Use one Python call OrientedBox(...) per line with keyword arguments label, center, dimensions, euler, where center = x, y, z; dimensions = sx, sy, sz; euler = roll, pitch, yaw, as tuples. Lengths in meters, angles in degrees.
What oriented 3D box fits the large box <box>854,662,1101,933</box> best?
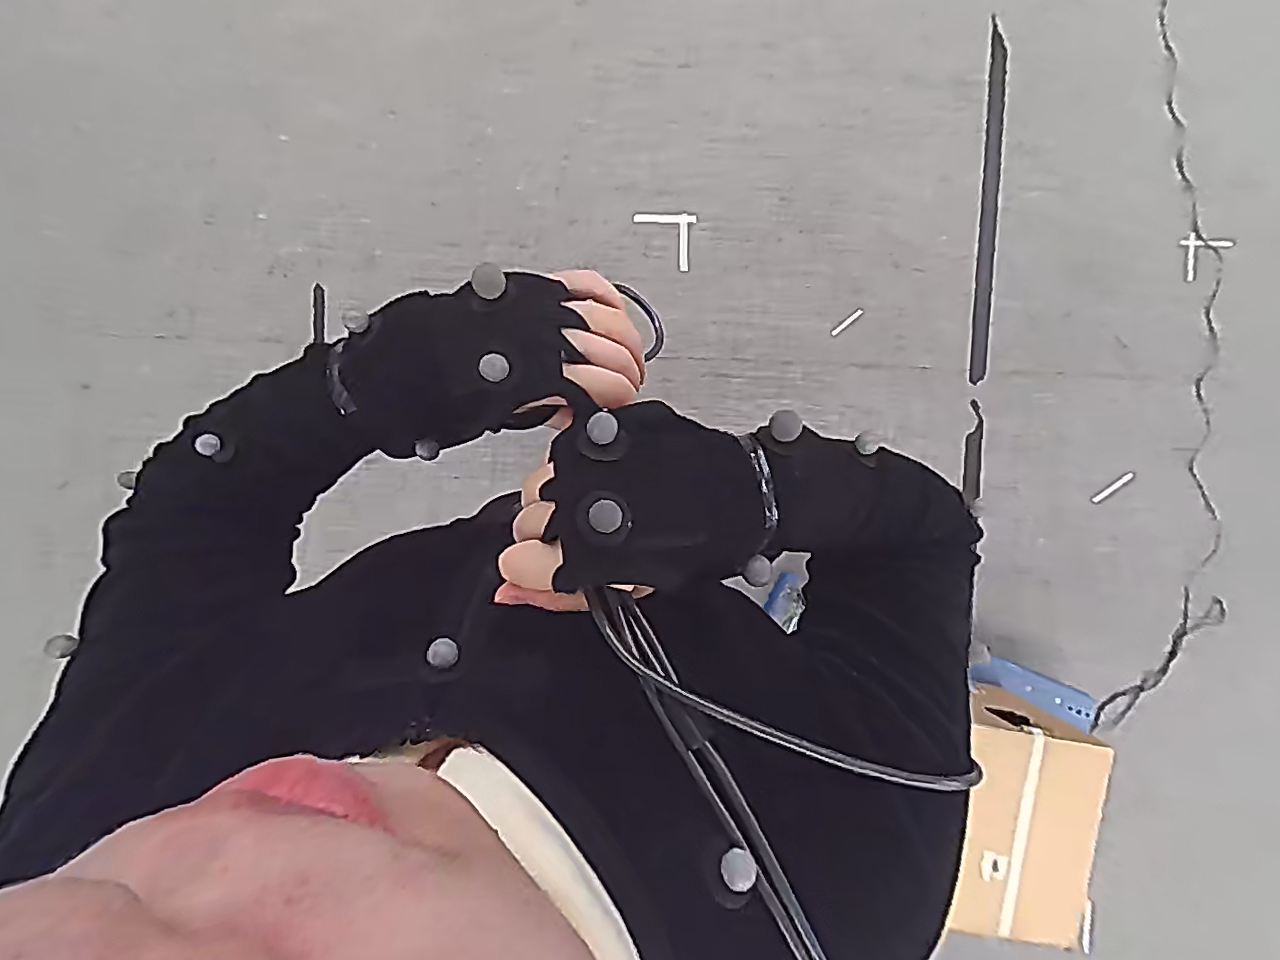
OrientedBox(label="large box", center=(0.721, 0.673, 1.209), dimensions=(0.320, 0.320, 0.408), euler=(11, 91, -1))
